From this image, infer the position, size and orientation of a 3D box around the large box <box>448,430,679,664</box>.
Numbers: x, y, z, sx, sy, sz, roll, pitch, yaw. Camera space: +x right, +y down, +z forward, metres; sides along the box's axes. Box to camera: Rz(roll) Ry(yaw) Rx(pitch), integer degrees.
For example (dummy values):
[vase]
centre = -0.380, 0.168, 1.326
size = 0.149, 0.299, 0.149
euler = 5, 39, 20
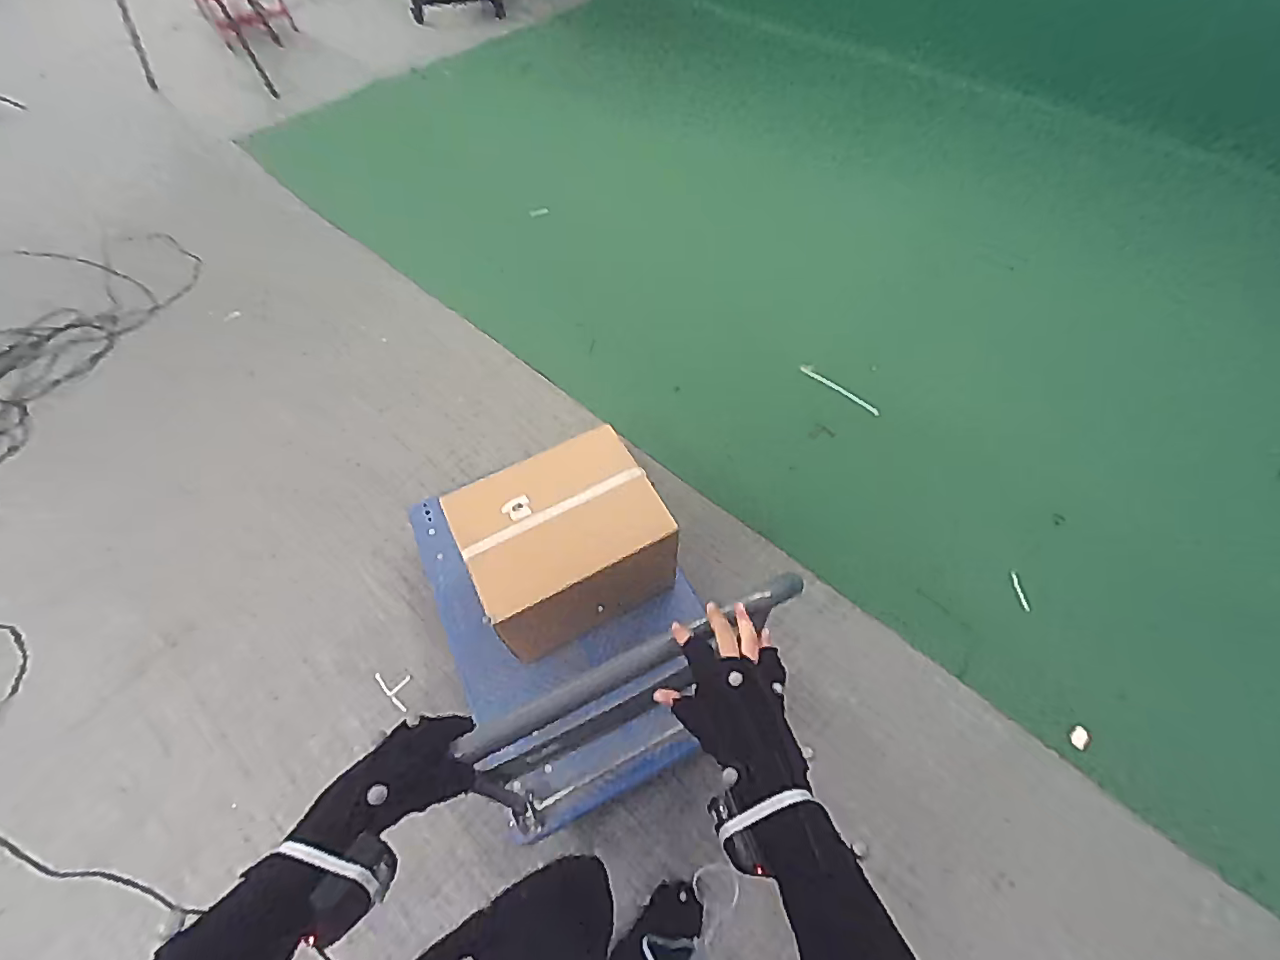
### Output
[large box]
centre = -0.159, 0.159, 1.250
size = 0.408, 0.320, 0.320
euler = -27, 61, -13
